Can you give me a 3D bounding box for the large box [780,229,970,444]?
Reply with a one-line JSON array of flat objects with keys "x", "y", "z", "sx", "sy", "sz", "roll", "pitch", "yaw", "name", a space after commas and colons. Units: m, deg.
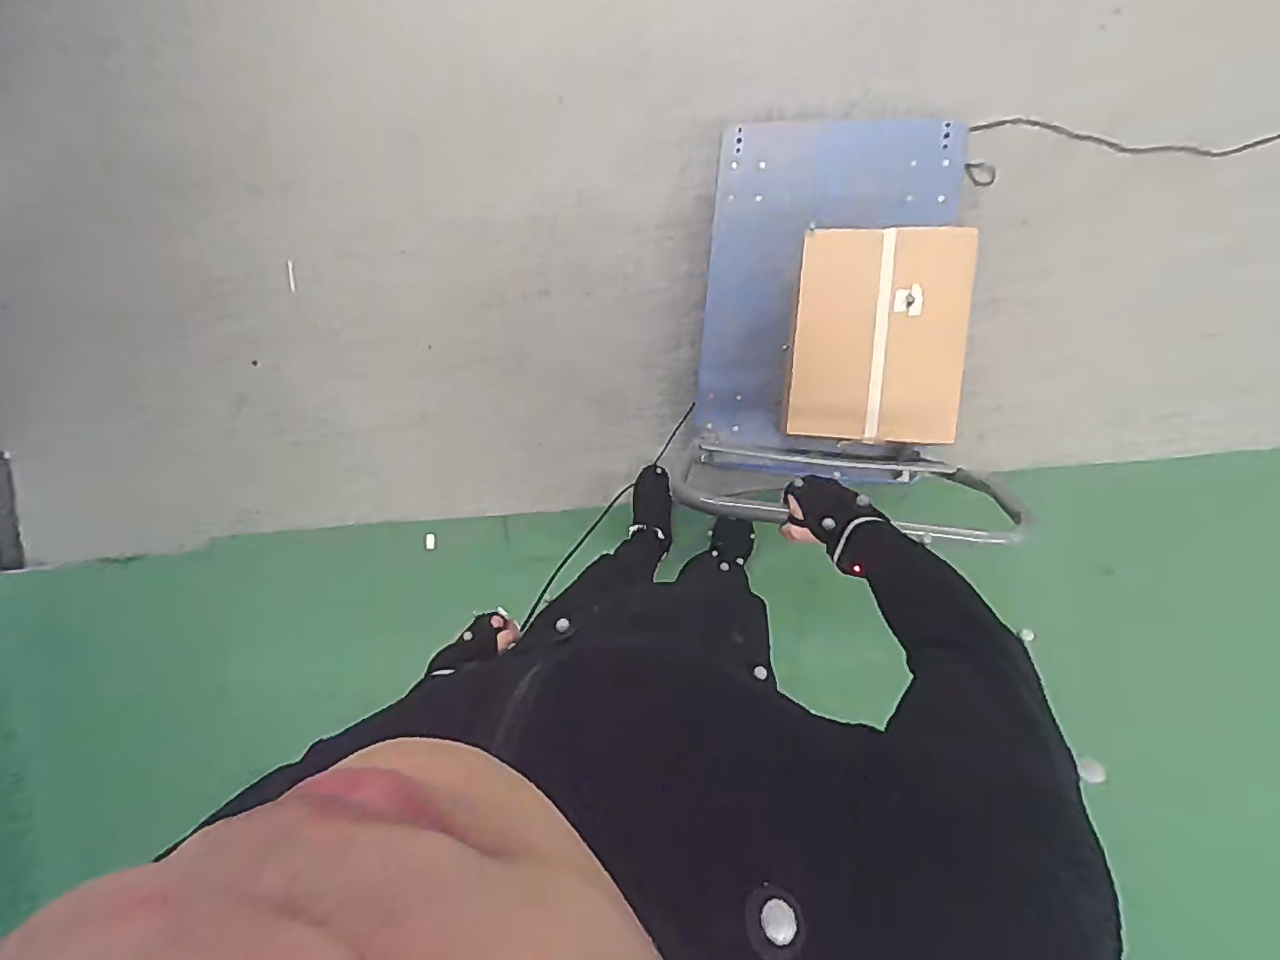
[{"x": 0.482, "y": -0.285, "z": 1.189, "sx": 0.320, "sy": 0.320, "sz": 0.408, "roll": 5, "pitch": 94, "yaw": 11, "name": "large box"}]
